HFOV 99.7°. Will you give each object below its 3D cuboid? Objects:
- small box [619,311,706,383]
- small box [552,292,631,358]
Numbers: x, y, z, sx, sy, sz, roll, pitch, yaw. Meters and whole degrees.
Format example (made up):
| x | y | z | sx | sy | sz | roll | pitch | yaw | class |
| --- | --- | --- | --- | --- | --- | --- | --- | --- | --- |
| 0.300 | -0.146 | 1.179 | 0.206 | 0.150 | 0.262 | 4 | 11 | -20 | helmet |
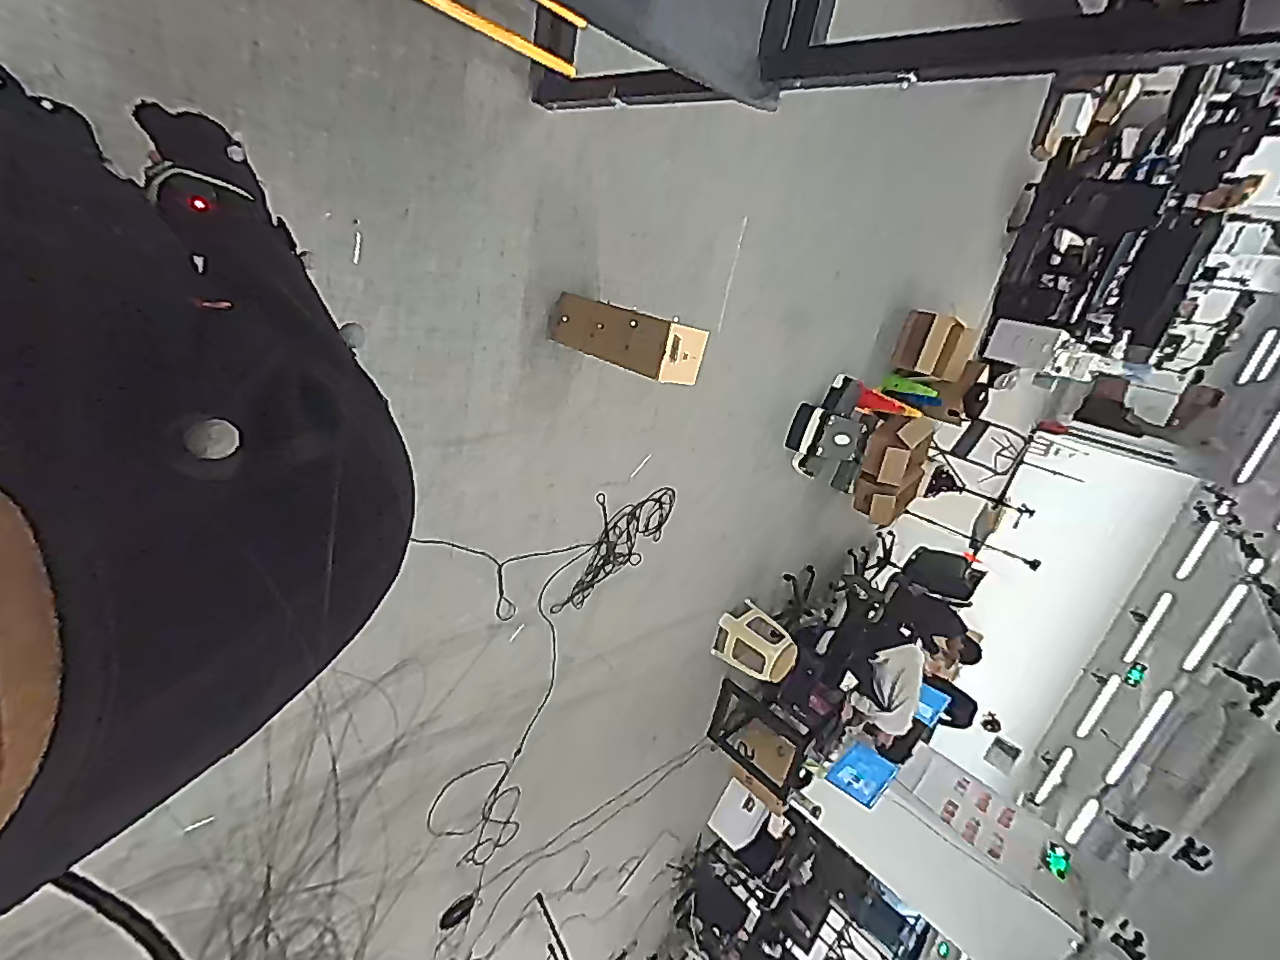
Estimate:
| x | y | z | sx | sy | sz | roll | pitch | yaw | class |
| --- | --- | --- | --- | --- | --- | --- | --- | --- | --- |
| 0.063 | -0.395 | 1.606 | 0.179 | 0.176 | 0.168 | -5 | 117 | -48 | small box |
| -0.165 | -0.519 | 1.805 | 0.179 | 0.176 | 0.168 | -2 | 113 | -48 | small box |
